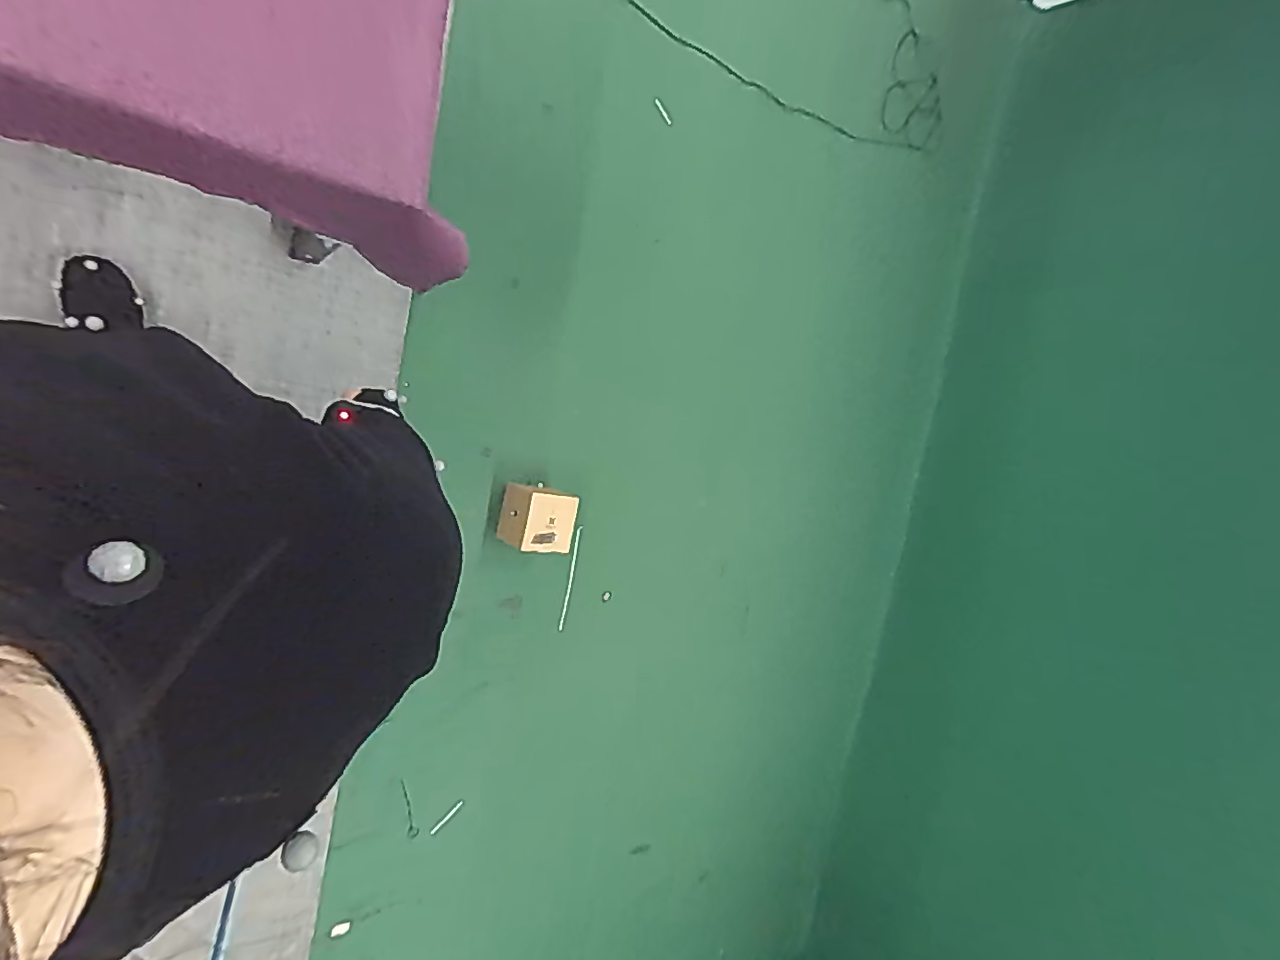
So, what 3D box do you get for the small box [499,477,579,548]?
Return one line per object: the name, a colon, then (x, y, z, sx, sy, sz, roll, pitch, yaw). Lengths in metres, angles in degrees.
small box: (-0.314, 0.098, 1.652, 0.168, 0.176, 0.179, 10, 94, -41)
